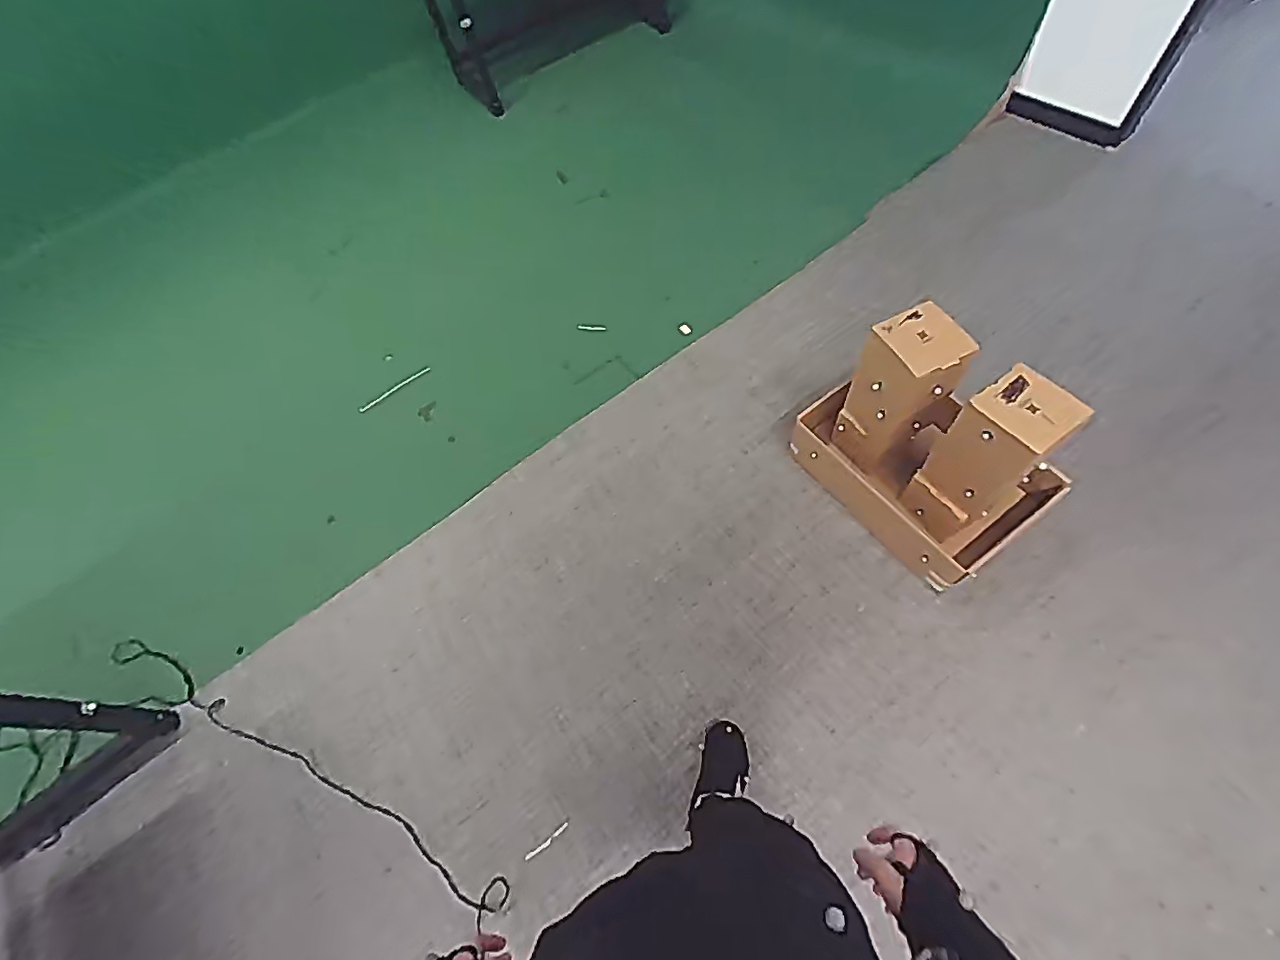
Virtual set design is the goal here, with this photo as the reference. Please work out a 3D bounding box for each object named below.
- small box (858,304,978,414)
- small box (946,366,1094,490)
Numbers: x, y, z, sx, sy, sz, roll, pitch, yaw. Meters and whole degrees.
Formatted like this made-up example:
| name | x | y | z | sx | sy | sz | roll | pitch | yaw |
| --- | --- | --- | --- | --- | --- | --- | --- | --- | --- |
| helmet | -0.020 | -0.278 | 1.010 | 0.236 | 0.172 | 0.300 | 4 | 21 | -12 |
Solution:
| name | x | y | z | sx | sy | sz | roll | pitch | yaw |
| --- | --- | --- | --- | --- | --- | --- | --- | --- | --- |
| small box | 0.661 | -0.282 | 1.310 | 0.168 | 0.176 | 0.179 | -25 | 63 | -5 |
| small box | 0.822 | -0.110 | 1.193 | 0.168 | 0.176 | 0.179 | -34 | 62 | -9 |
